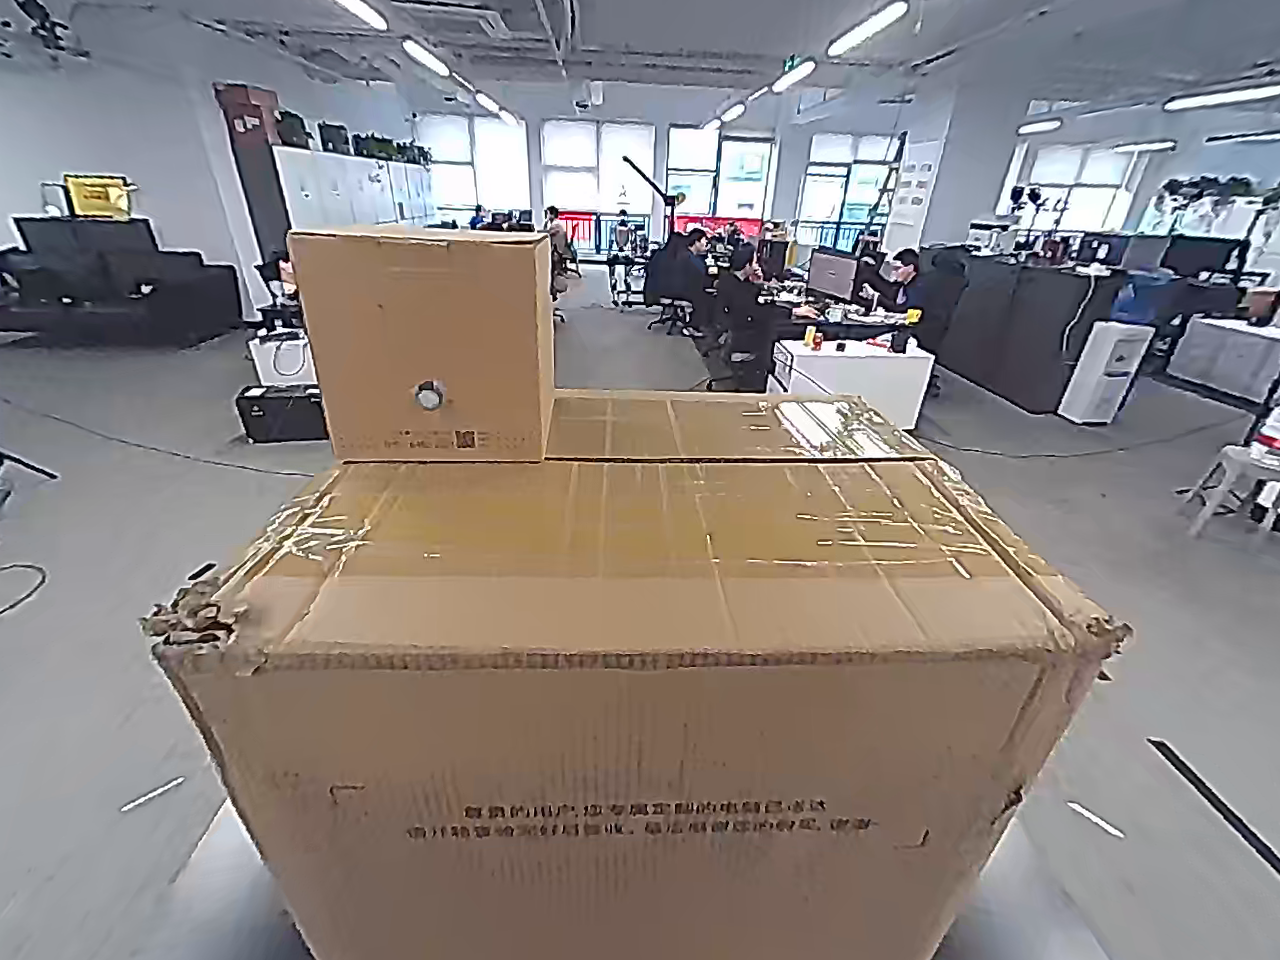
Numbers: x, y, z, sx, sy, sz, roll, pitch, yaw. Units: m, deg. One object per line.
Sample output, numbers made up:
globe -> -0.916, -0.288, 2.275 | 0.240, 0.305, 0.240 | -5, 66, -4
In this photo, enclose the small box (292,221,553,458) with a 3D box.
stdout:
small box -> -0.166, -0.129, 0.478 | 0.168, 0.176, 0.179 | -1, 26, -6
